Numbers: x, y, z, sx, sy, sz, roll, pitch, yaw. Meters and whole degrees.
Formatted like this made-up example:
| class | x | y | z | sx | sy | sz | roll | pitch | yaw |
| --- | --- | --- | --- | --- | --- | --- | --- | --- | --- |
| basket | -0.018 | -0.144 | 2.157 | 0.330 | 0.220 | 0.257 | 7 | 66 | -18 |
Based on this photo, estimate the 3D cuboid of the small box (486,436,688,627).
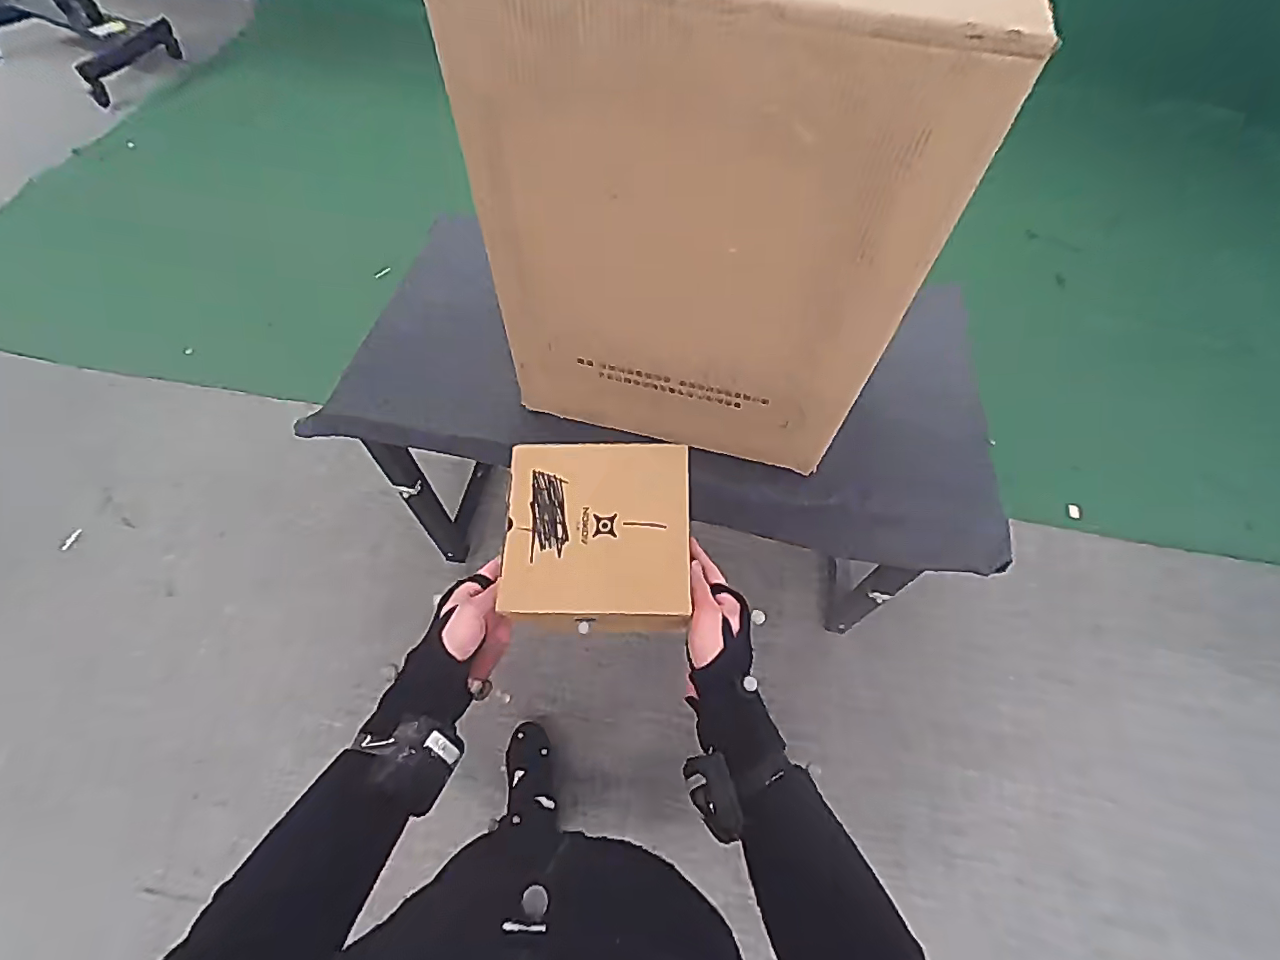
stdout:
| class | x | y | z | sx | sy | sz | roll | pitch | yaw |
| --- | --- | --- | --- | --- | --- | --- | --- | --- | --- |
| small box | -0.042 | 0.064 | 0.585 | 0.179 | 0.176 | 0.168 | 5 | 72 | 5 |
